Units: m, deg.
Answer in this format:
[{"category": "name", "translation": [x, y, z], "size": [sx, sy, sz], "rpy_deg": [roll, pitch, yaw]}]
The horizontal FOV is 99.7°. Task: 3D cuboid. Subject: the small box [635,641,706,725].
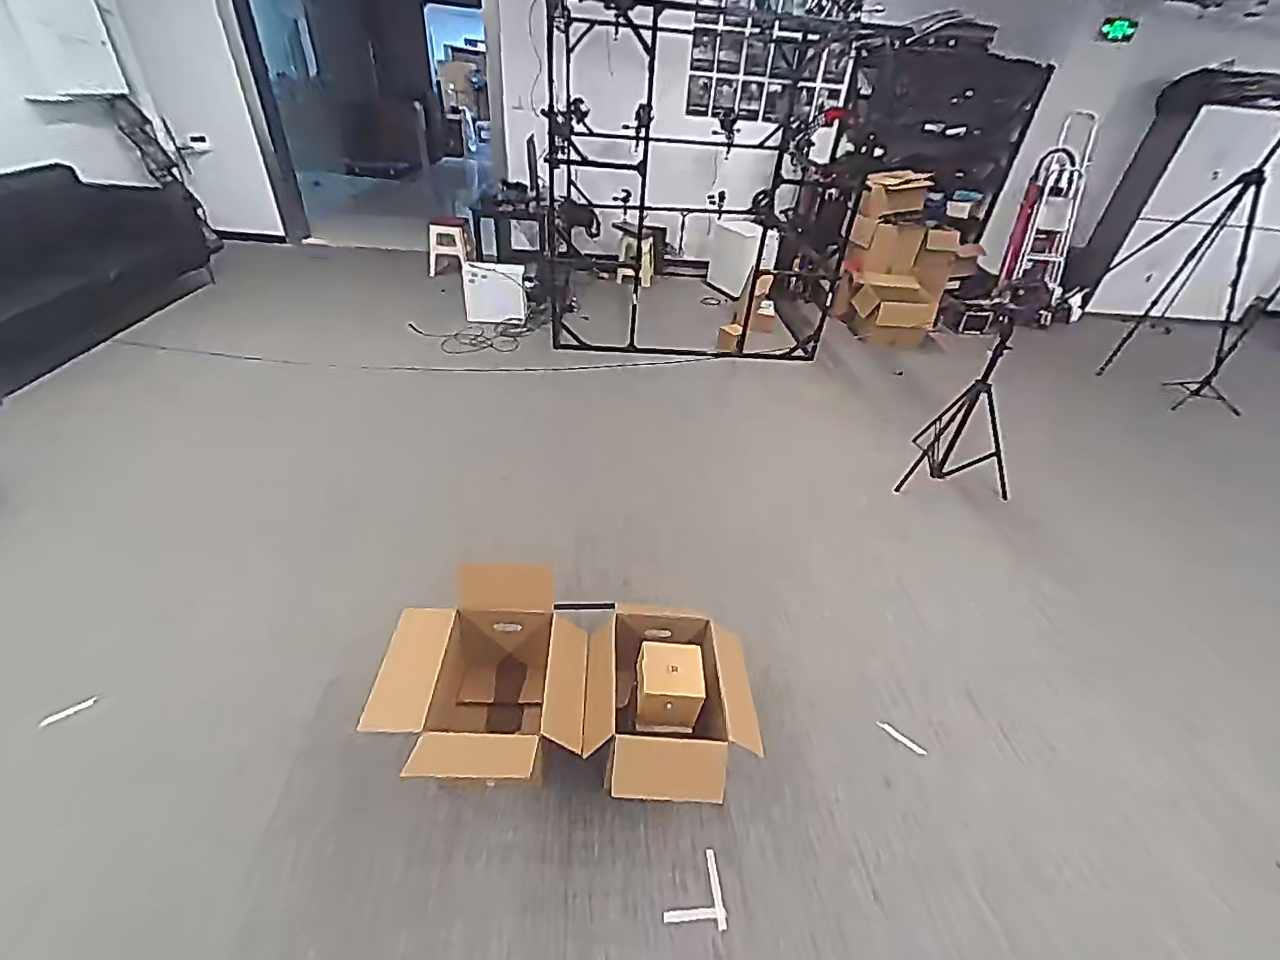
[{"category": "small box", "translation": [0.084, 0.592, 1.570], "size": [0.179, 0.176, 0.168], "rpy_deg": [6, 39, -5]}]
